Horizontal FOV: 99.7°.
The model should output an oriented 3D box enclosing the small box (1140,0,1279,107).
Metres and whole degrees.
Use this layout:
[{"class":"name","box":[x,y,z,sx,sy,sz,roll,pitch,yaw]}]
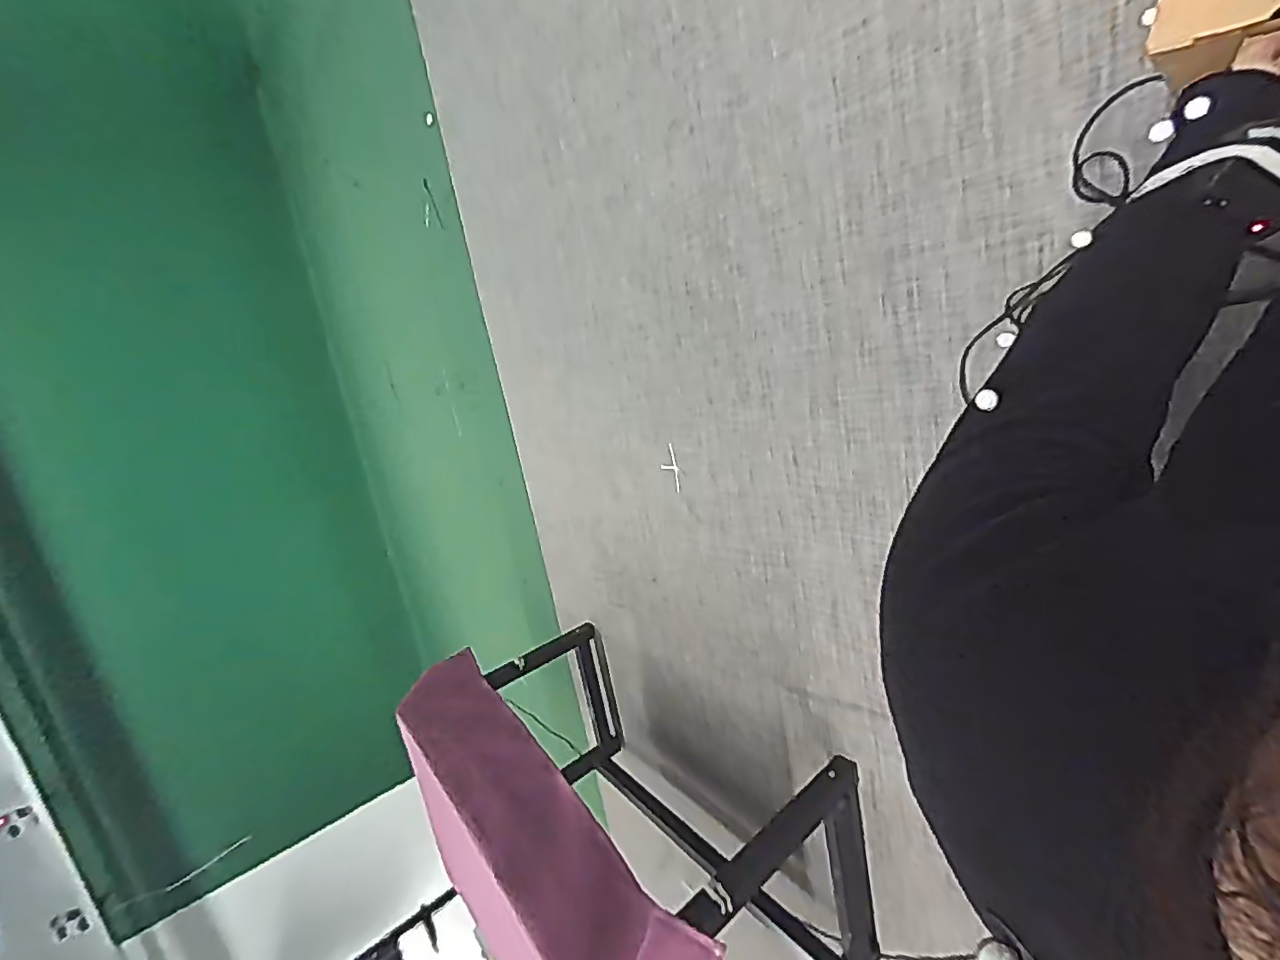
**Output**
[{"class":"small box","box":[0.569,-0.451,0.455,0.168,0.176,0.179,22,118,48]}]
